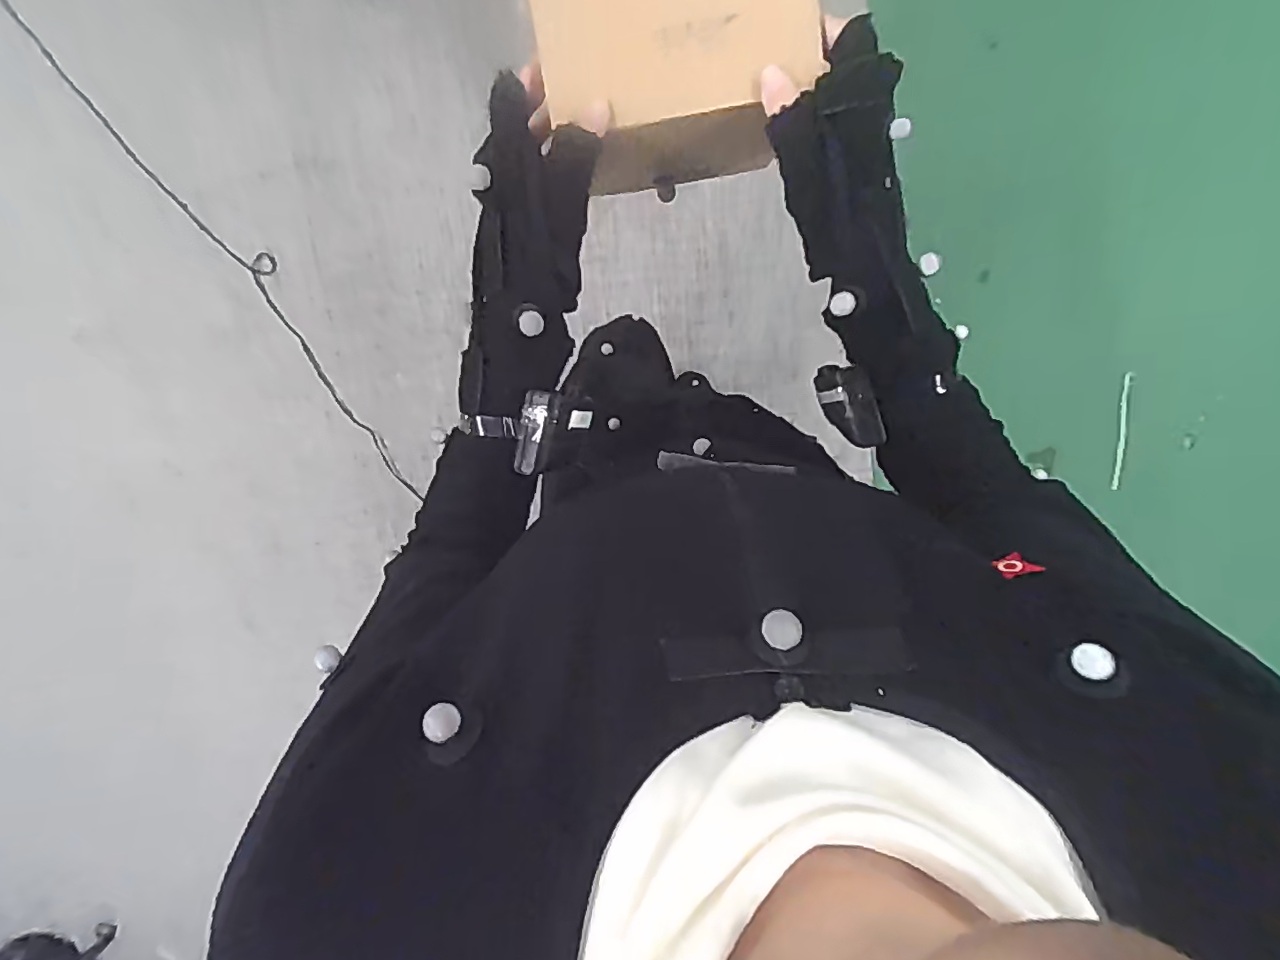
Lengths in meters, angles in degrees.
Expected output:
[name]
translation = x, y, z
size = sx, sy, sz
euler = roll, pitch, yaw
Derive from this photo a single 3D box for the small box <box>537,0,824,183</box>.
[small box]
translation = 0.018, -0.333, 0.377
size = 0.168, 0.176, 0.179
euler = -8, 107, 4
